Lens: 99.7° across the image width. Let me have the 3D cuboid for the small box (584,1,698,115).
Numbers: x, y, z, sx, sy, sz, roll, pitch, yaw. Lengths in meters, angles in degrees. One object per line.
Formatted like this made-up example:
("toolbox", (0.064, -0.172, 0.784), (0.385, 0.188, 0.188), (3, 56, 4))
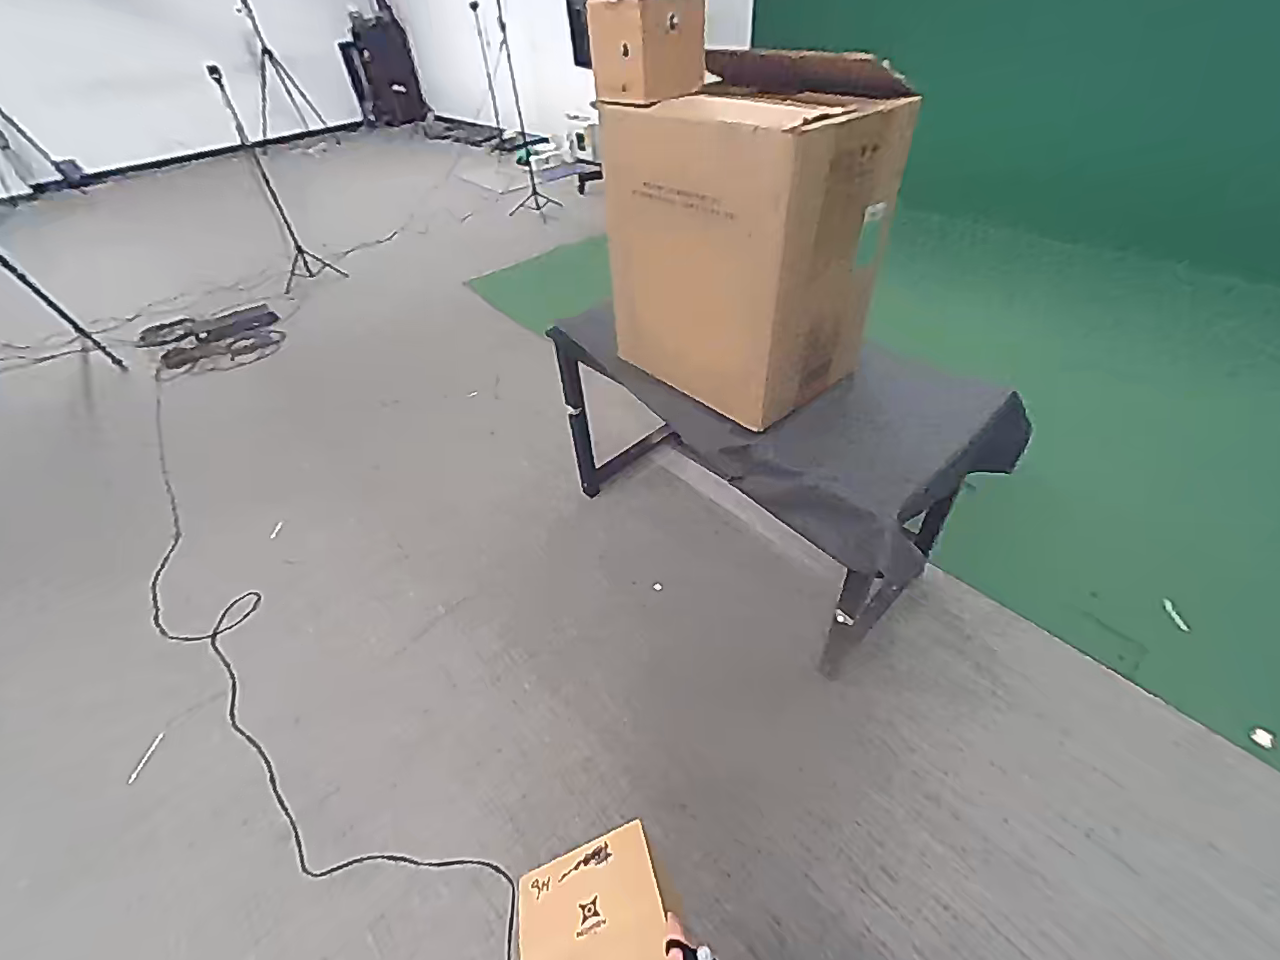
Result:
("small box", (0.008, -0.878, 1.132), (0.179, 0.176, 0.168), (-31, 48, -26))

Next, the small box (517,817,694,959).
("small box", (-0.033, 0.559, 0.637), (0.168, 0.176, 0.179), (-23, 21, -6))
